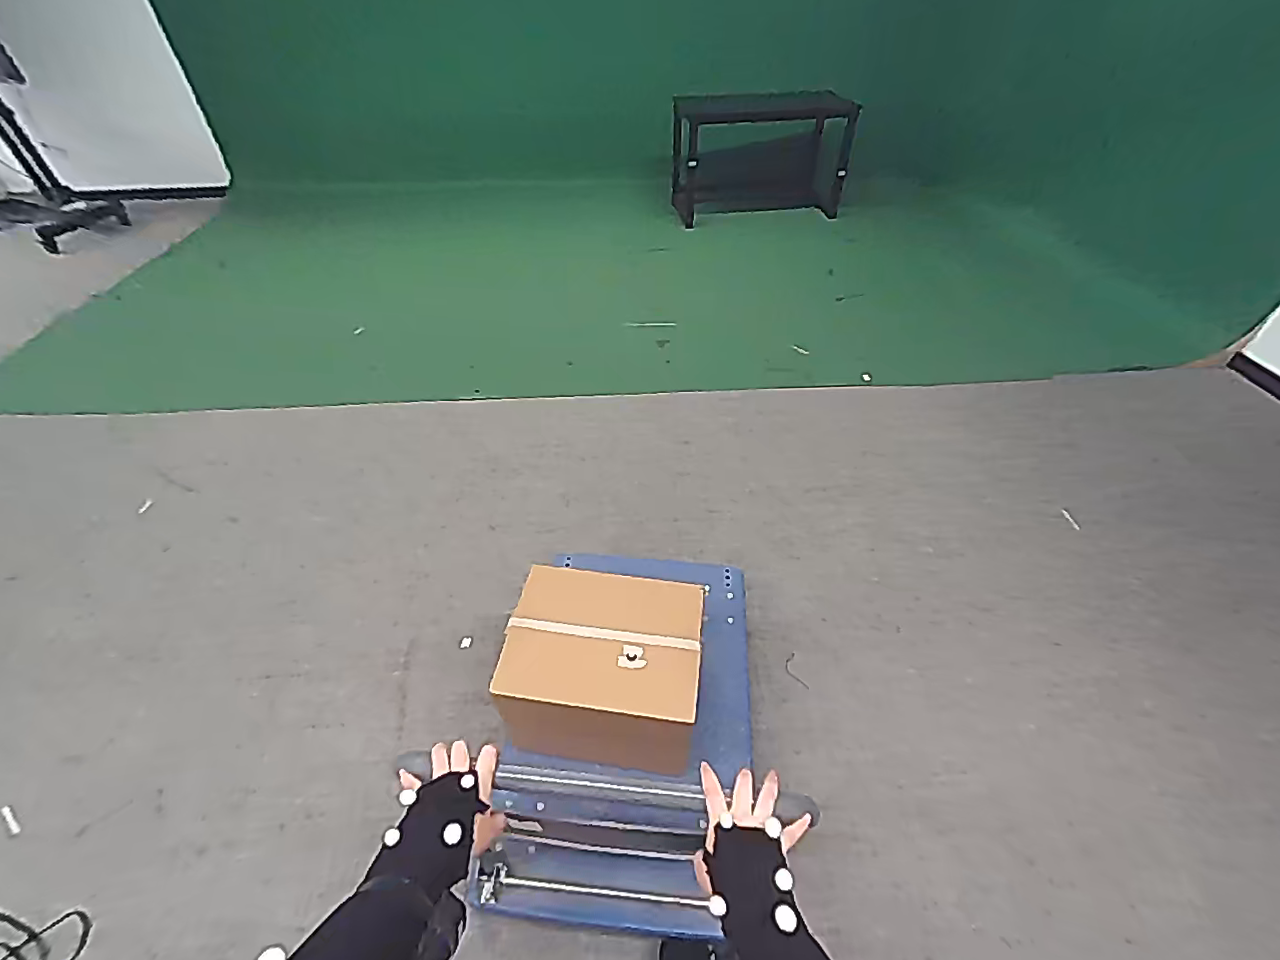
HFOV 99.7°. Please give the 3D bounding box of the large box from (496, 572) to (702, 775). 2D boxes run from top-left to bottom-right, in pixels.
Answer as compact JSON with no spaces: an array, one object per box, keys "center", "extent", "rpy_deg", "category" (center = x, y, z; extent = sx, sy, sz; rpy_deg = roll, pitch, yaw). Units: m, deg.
[{"center":[-0.078,0.449,1.260],"extent":[0.408,0.320,0.320],"rpy_deg":[7,44,5],"category":"large box"}]
